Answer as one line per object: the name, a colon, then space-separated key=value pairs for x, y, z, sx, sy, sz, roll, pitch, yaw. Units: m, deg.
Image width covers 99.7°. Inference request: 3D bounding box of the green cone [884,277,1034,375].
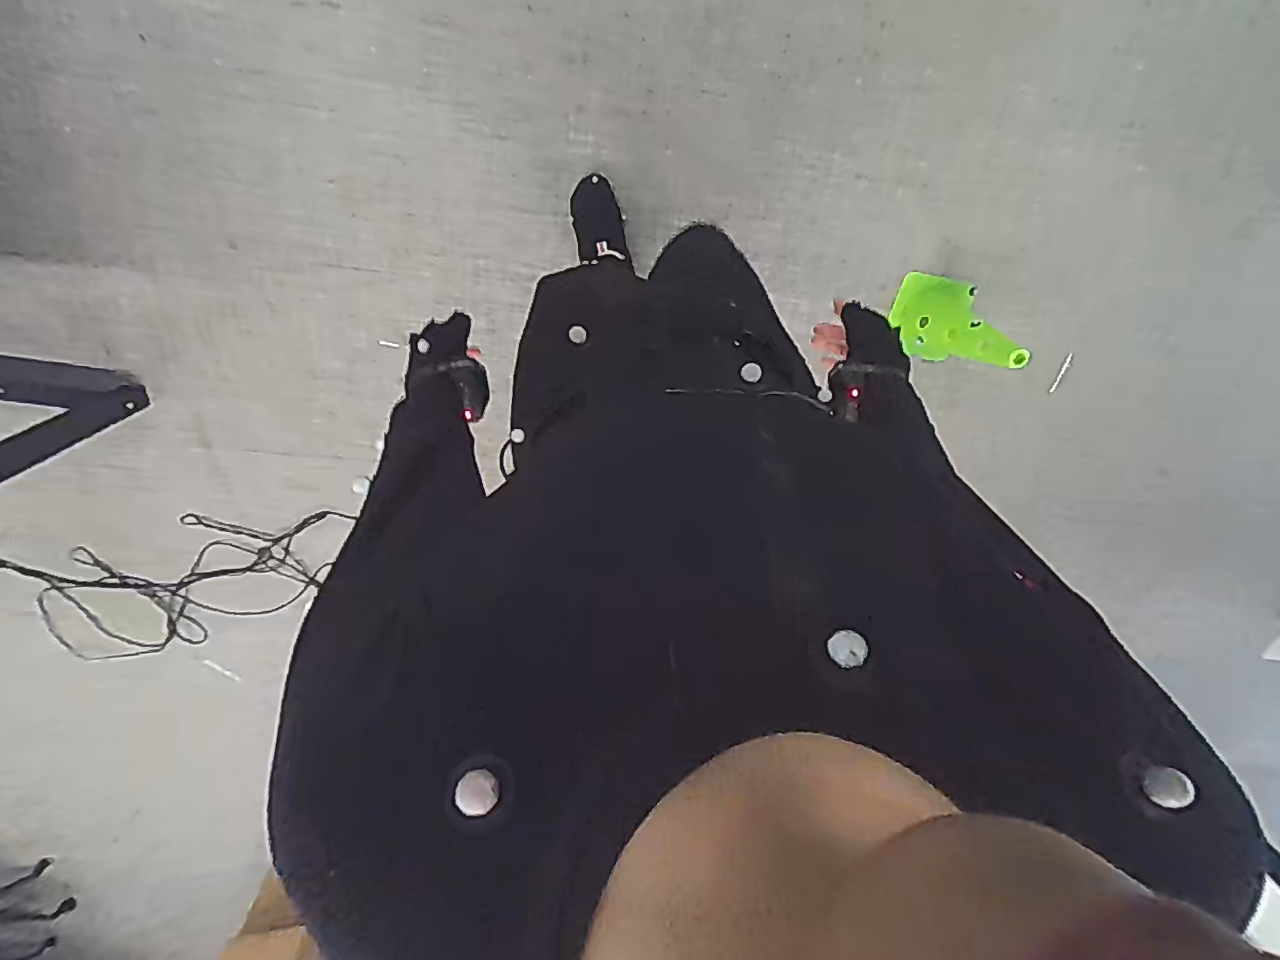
green cone: x=0.751 y=-0.319 z=1.228 sx=0.200 sy=0.368 sz=0.202 roll=7 pitch=118 yaw=-7
